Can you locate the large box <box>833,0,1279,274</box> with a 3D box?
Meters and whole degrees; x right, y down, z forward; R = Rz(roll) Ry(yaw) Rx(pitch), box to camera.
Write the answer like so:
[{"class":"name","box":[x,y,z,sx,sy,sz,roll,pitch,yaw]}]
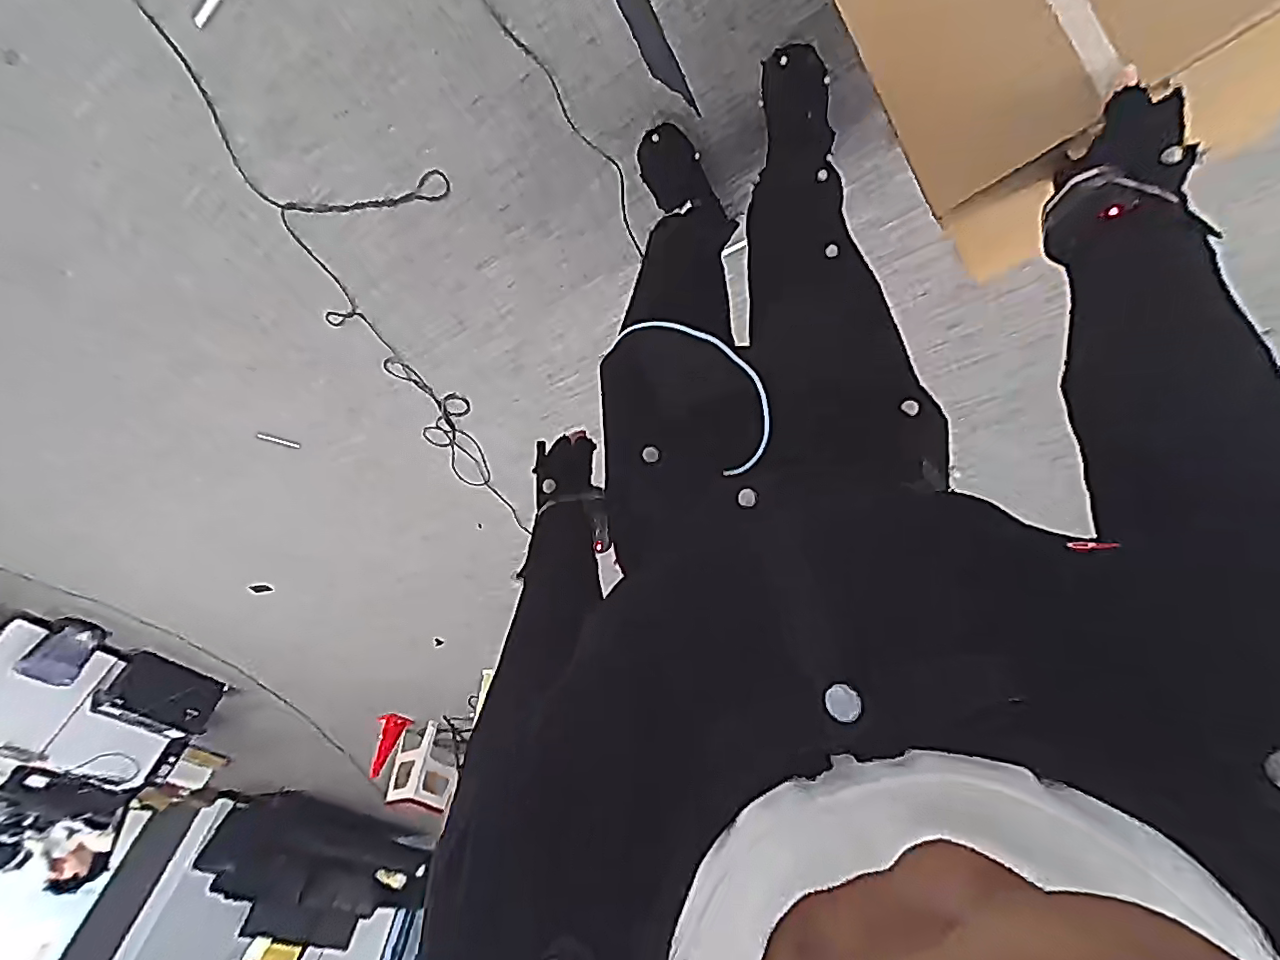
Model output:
[{"class":"large box","box":[0.469,-0.533,0.647,0.320,0.408,0.320,-25,168,36]}]
